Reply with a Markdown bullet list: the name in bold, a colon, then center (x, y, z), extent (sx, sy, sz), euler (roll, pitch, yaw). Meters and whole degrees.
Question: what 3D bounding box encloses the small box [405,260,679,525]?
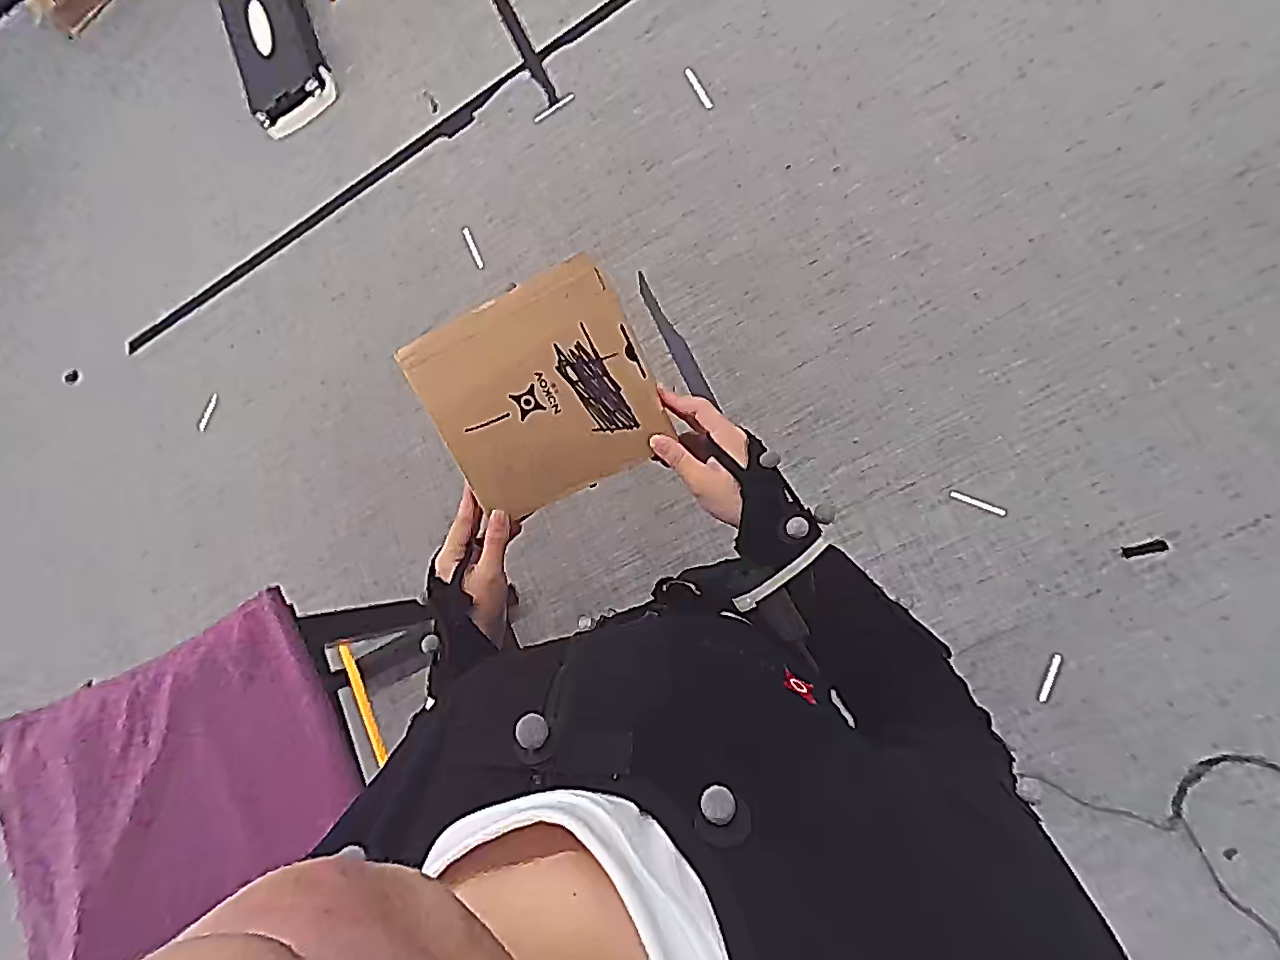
- **small box**: center (-0.076, -0.085, 0.515), extent (0.179, 0.176, 0.168), euler (-24, 102, 8)
